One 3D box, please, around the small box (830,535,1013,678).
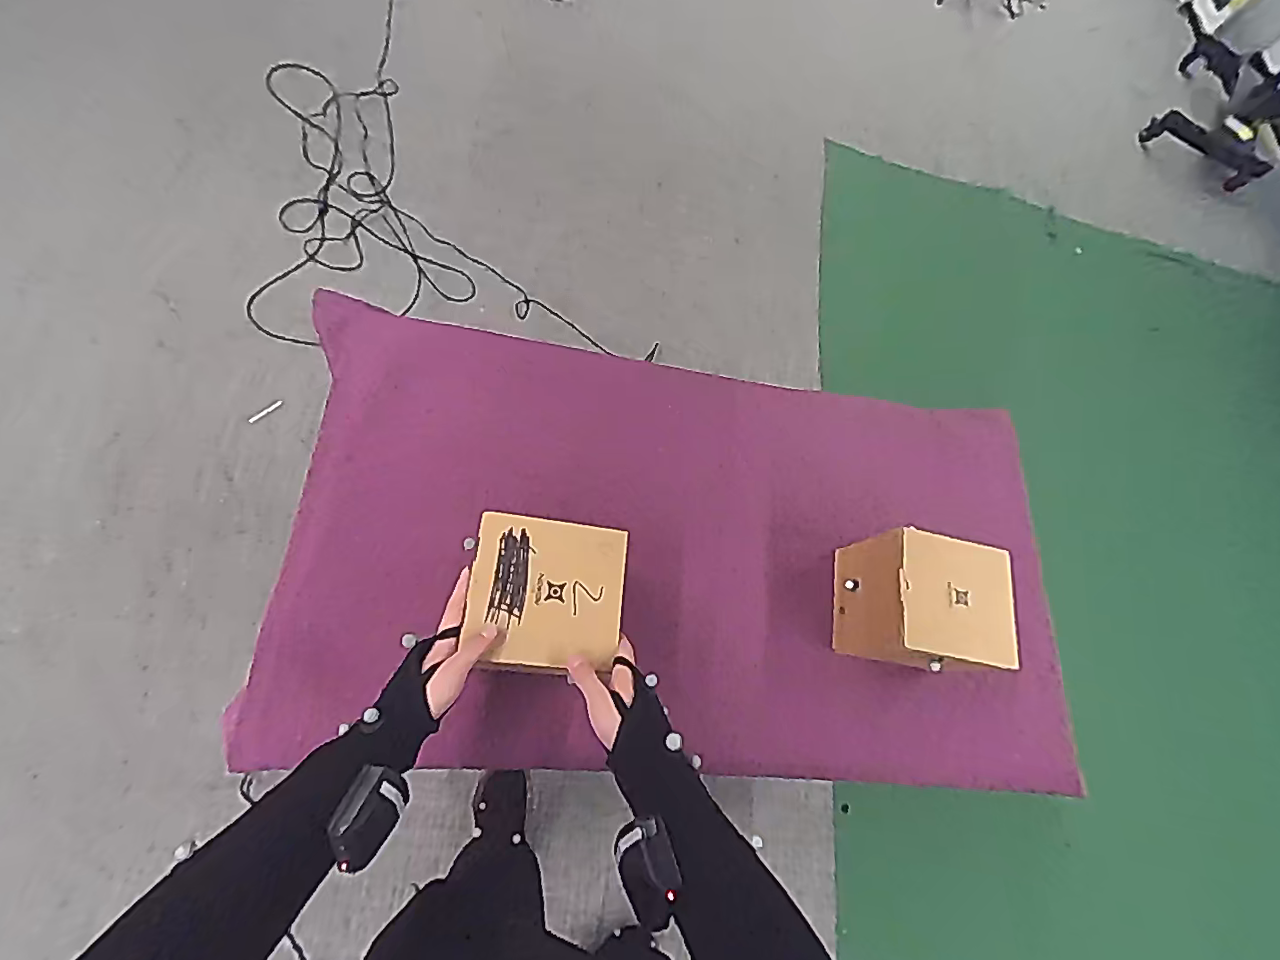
[{"bbox_3d":[0.414,0.194,0.812,0.179,0.176,0.168,14,69,-9],"label":"small box"}]
